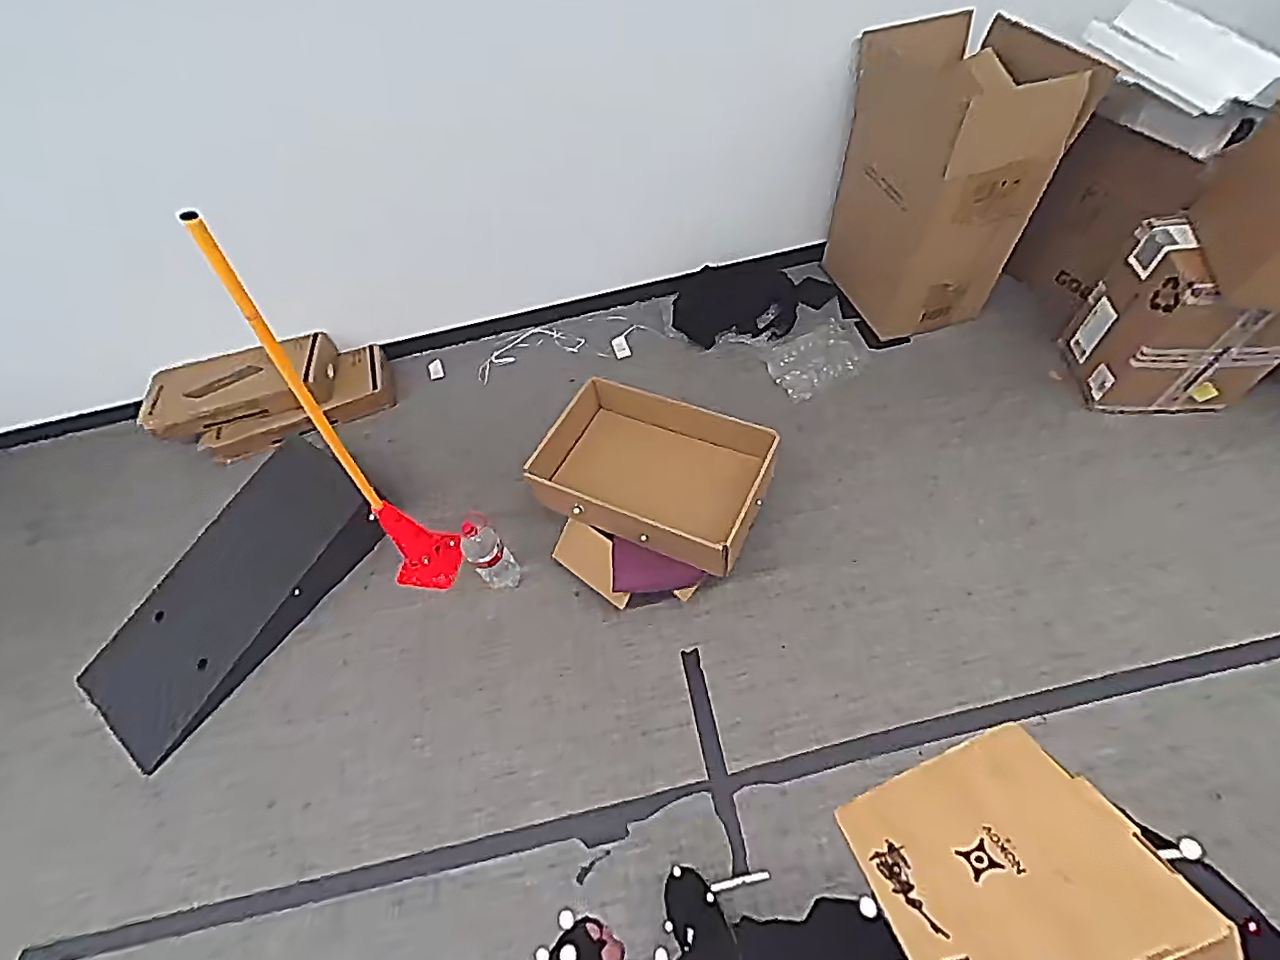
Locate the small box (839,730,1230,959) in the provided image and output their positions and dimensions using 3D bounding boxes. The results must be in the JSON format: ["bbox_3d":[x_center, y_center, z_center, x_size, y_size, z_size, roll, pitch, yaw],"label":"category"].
[{"bbox_3d":[0.292,0.345,0.421,0.179,0.176,0.168,-26,17,2],"label":"small box"}]
